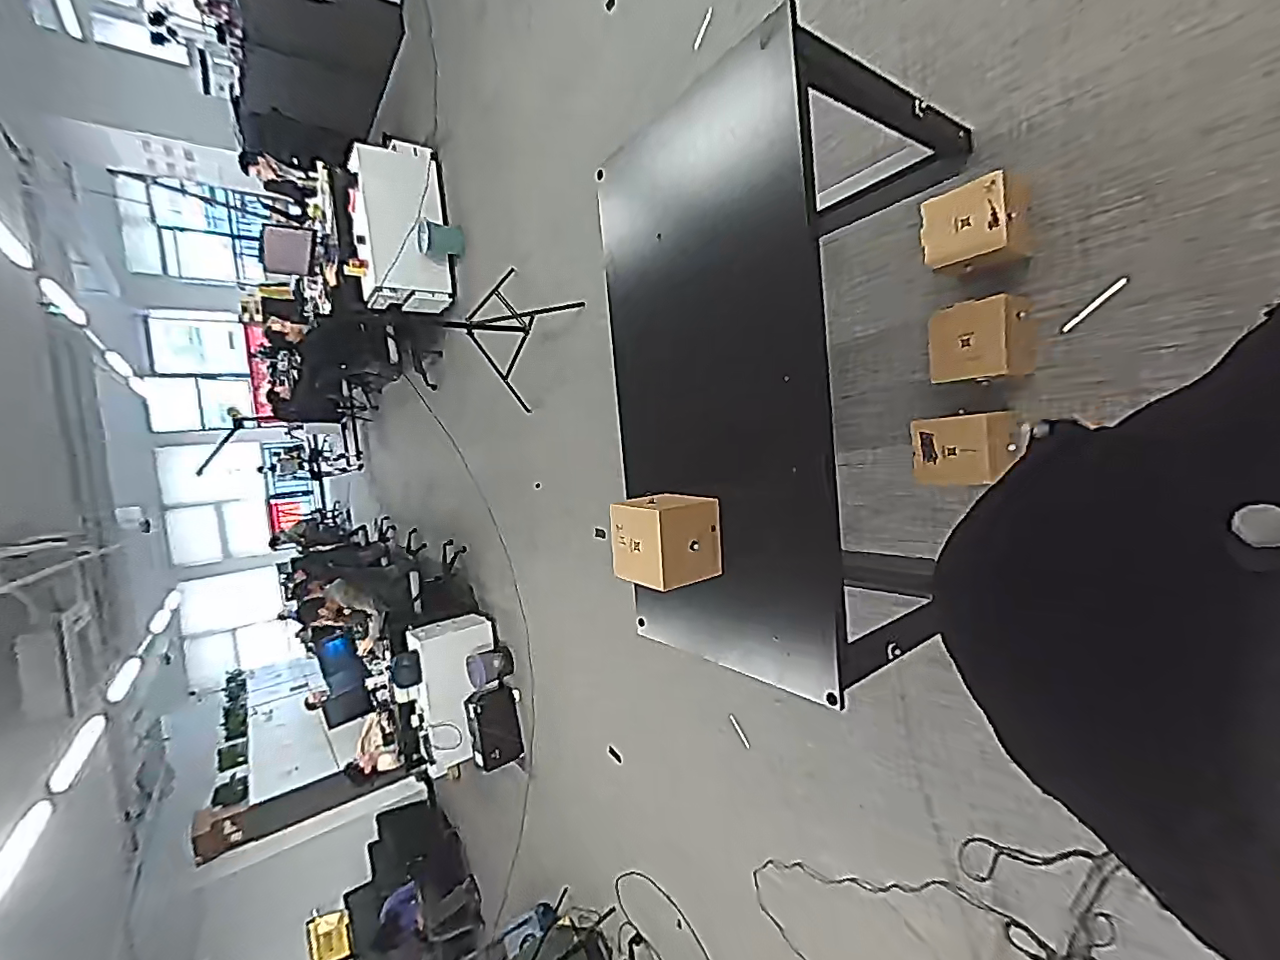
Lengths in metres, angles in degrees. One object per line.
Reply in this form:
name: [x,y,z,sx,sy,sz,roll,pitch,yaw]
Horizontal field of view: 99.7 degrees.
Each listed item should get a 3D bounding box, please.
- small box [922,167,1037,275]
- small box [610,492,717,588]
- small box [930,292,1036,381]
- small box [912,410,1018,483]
small box: [0.796,-0.594,1.268,0.179,0.176,0.168,-2,96,54]
small box: [0.055,0.120,1.173,0.179,0.176,0.168,5,100,53]
small box: [0.819,-0.333,1.290,0.168,0.176,0.179,-1,96,55]
small box: [0.809,-0.082,1.348,0.179,0.176,0.168,-2,96,53]
